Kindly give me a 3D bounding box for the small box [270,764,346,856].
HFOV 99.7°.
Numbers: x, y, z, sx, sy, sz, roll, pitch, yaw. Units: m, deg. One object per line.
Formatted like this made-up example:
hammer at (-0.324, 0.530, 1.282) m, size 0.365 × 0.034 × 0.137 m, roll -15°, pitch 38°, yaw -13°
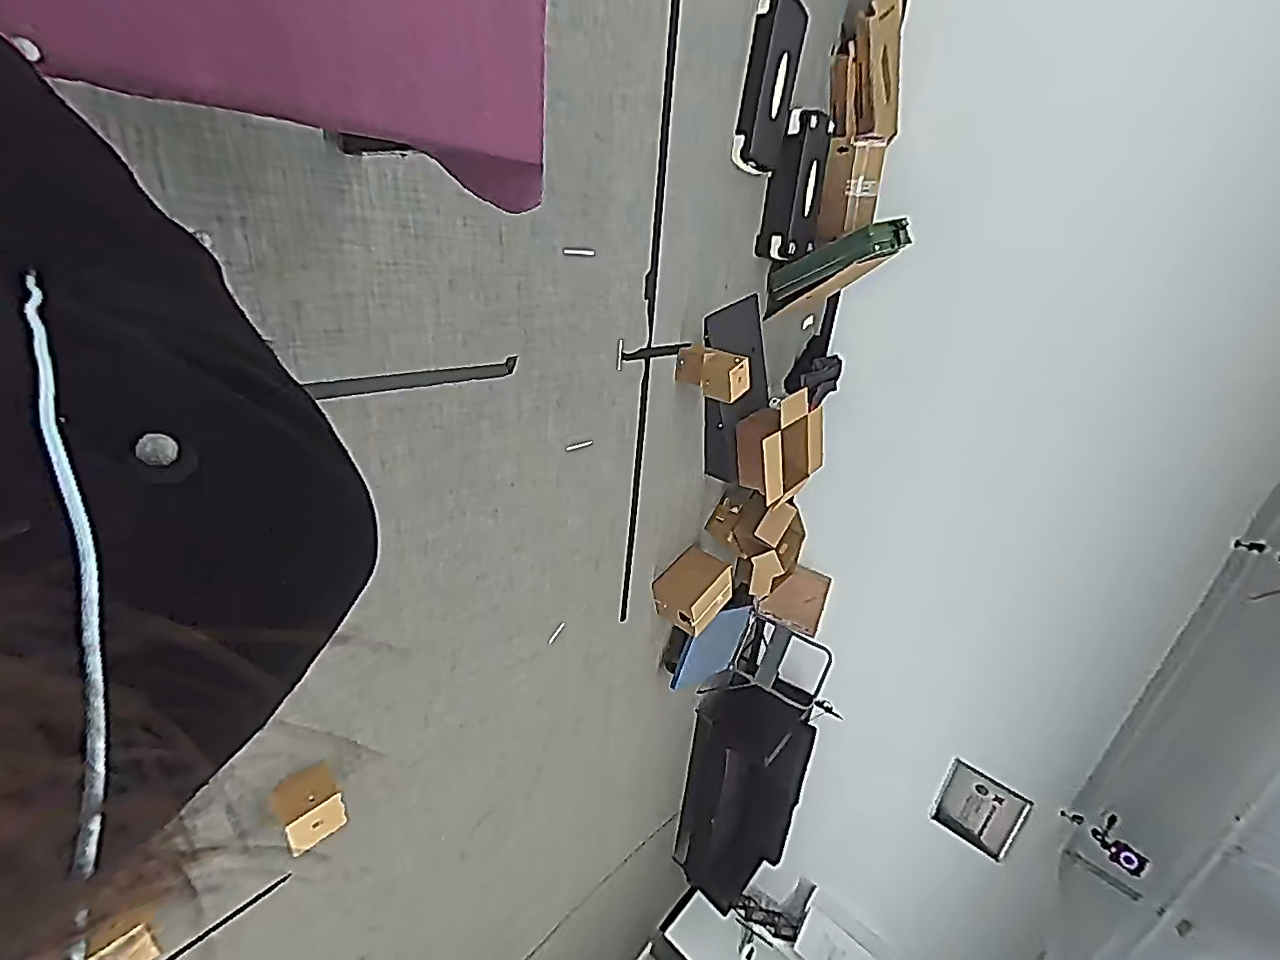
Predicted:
small box at (-1.167, 1.147, 1.892) m, size 0.179 × 0.176 × 0.168 m, roll -24°, pitch 127°, yaw -45°
